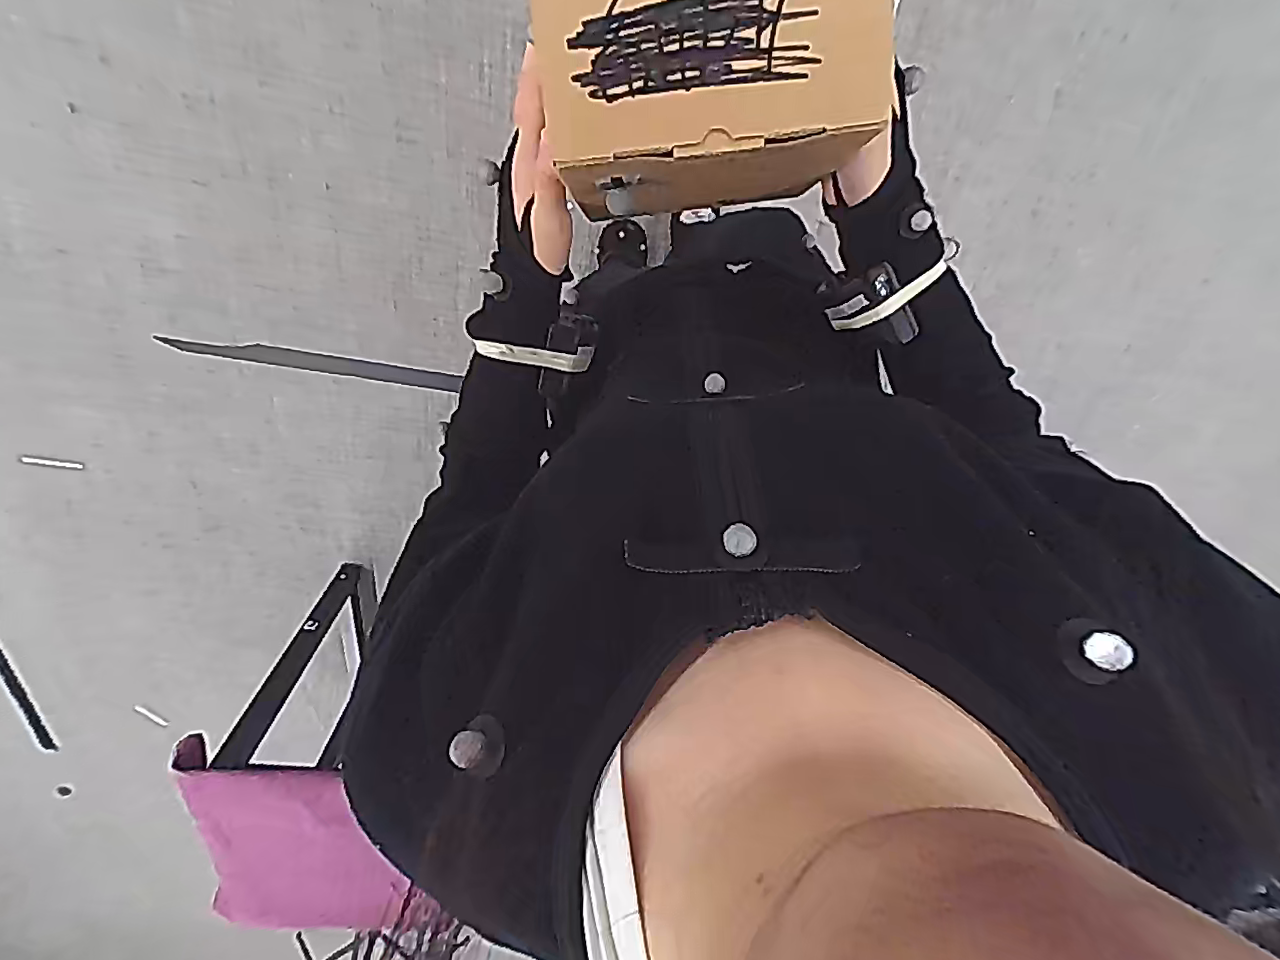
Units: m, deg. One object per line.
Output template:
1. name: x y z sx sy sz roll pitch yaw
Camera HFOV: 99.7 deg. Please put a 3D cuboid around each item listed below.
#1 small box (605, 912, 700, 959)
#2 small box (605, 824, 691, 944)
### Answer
1. small box: 0.022 0.988 1.071 0.179 0.176 0.168 3 122 -6
2. small box: 0.012 0.905 1.210 0.168 0.176 0.179 4 120 -7
